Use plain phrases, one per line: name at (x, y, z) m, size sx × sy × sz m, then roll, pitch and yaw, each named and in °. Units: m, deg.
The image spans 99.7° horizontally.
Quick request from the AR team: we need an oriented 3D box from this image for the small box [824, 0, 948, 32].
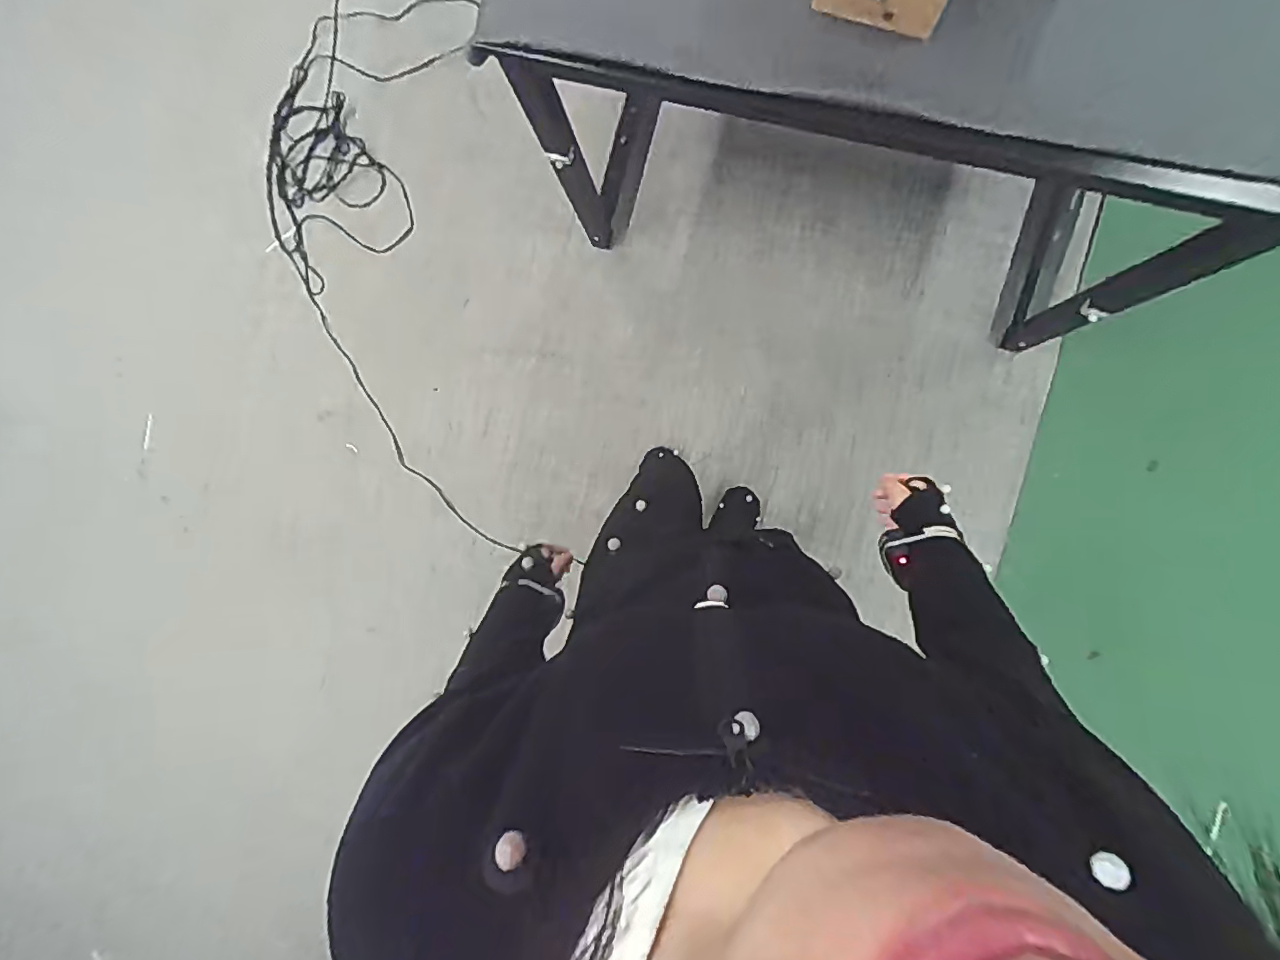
small box at (0.332, -0.700, 0.642) m, size 0.168 × 0.176 × 0.179 m, roll 21°, pitch 92°, yaw 7°
